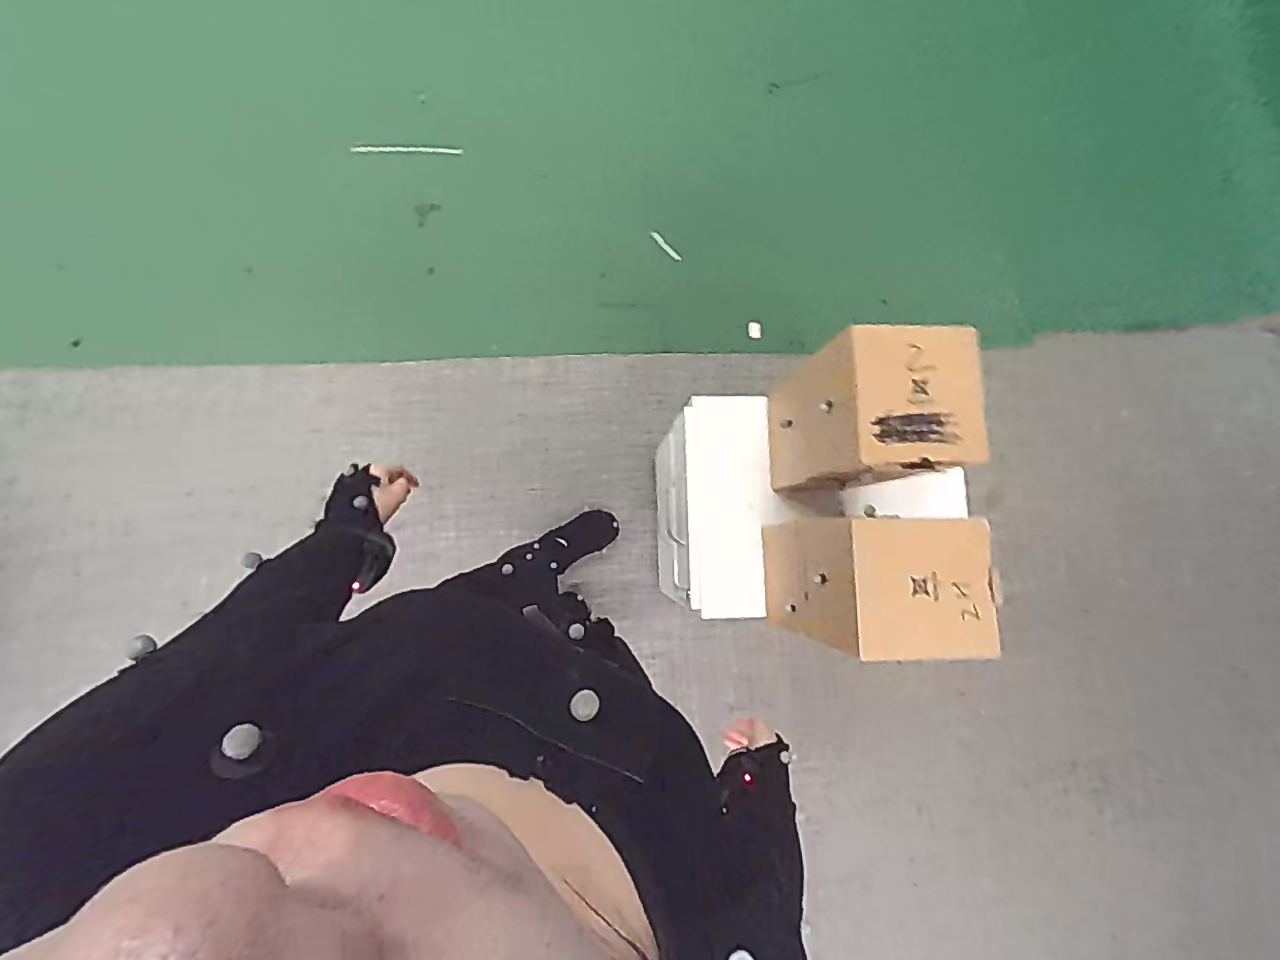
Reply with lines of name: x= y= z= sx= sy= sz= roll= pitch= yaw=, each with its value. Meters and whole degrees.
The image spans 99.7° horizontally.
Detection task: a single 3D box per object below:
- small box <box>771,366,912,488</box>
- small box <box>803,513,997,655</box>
small box: x=0.325 y=-0.082 z=0.904 sx=0.168 sy=0.176 sz=0.179 roll=-1 pitch=85 yaw=-5
small box: x=0.325 y=0.132 z=0.714 sx=0.179 sy=0.176 sz=0.168 roll=1 pitch=84 yaw=-6
